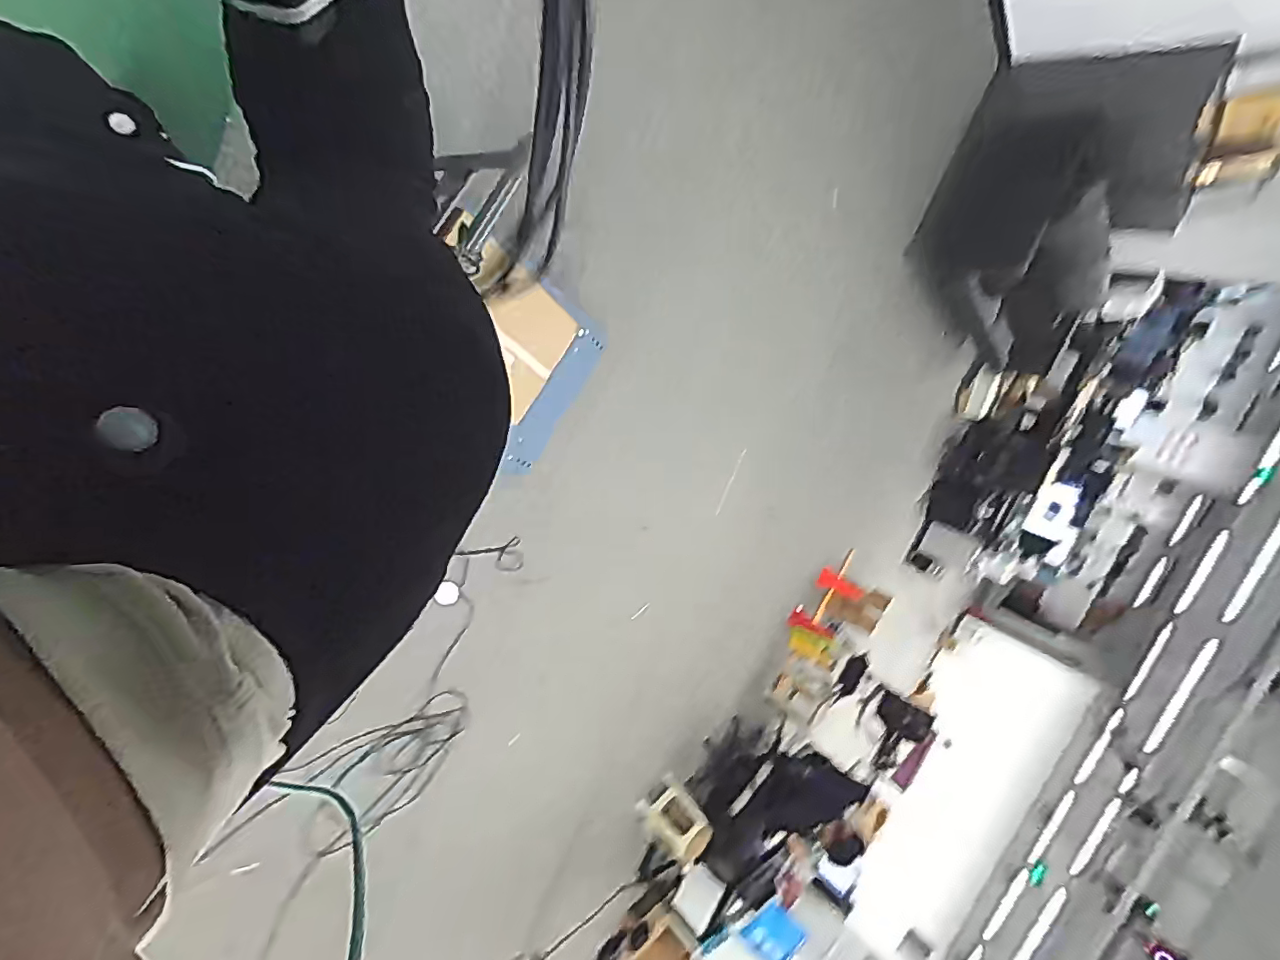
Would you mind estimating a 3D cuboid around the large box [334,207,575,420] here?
[{"bbox_3d":[-0.450,-0.408,1.346,0.320,0.320,0.408,-58,141,-4],"label":"large box"}]
